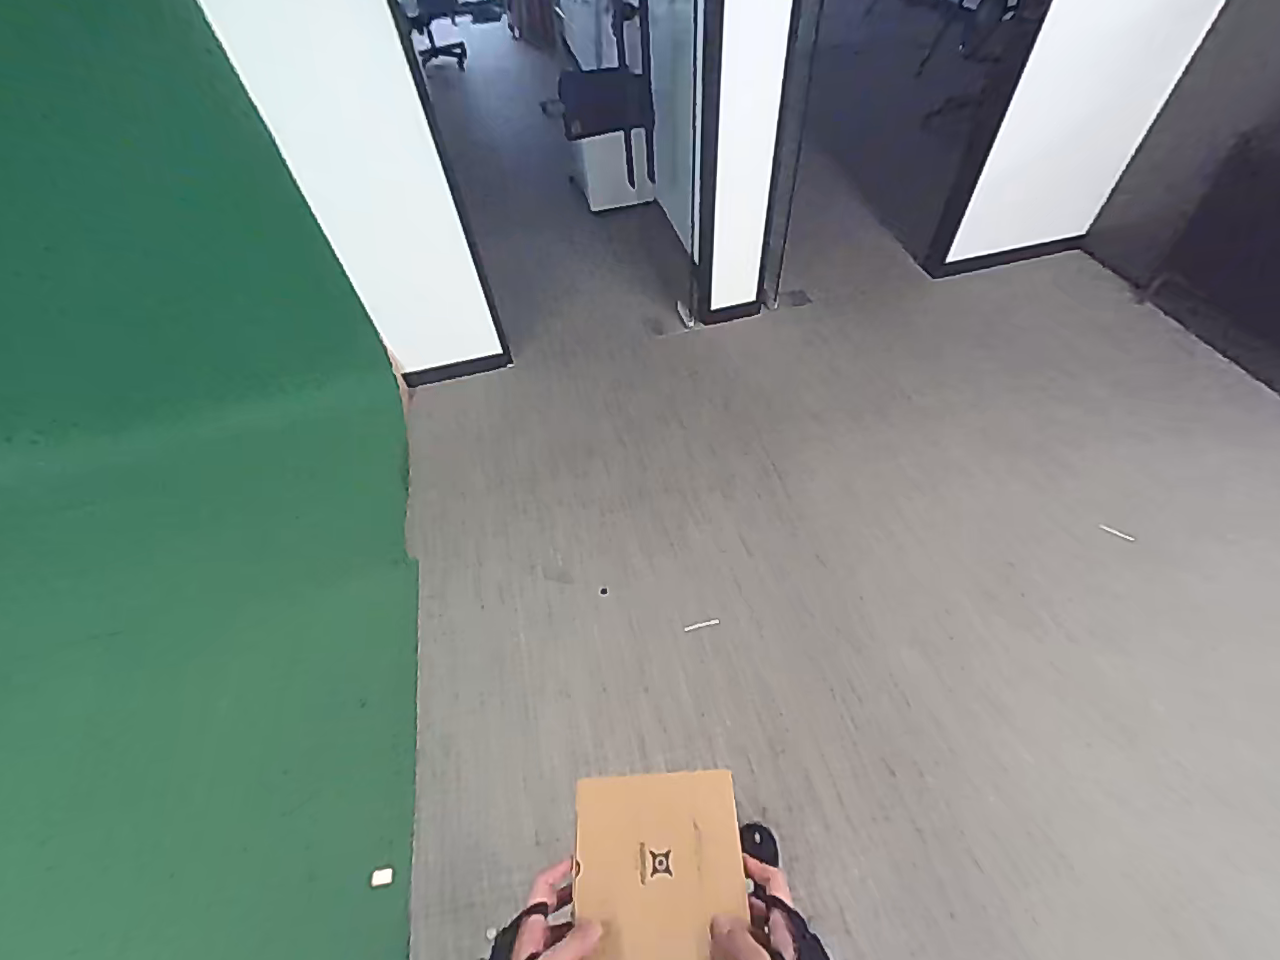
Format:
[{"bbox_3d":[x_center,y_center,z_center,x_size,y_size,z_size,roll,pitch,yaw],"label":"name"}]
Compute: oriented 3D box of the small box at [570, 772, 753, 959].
[{"bbox_3d":[0.026,0.443,0.614,0.179,0.176,0.168,-4,51,2],"label":"small box"}]
